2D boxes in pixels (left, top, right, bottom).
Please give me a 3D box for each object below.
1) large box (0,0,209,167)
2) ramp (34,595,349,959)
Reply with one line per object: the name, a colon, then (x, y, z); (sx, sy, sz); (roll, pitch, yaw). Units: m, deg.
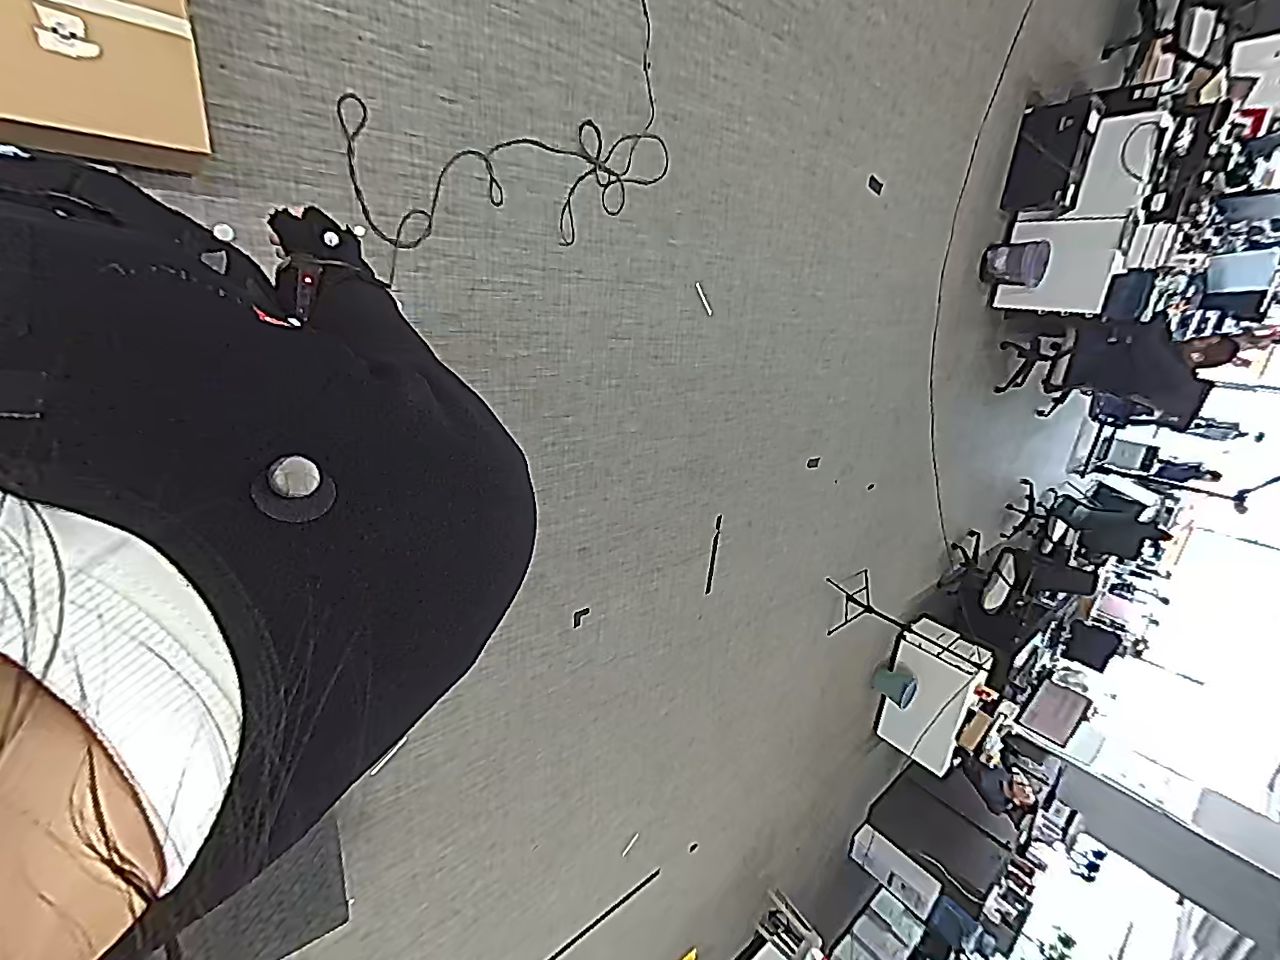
large box: (-0.900, -0.665, 0.762); (0.408, 0.320, 0.320); (-12, 116, -39)
ramp: (-1.047, 0.813, 1.337); (0.509, 0.206, 0.991); (-11, 114, -37)
